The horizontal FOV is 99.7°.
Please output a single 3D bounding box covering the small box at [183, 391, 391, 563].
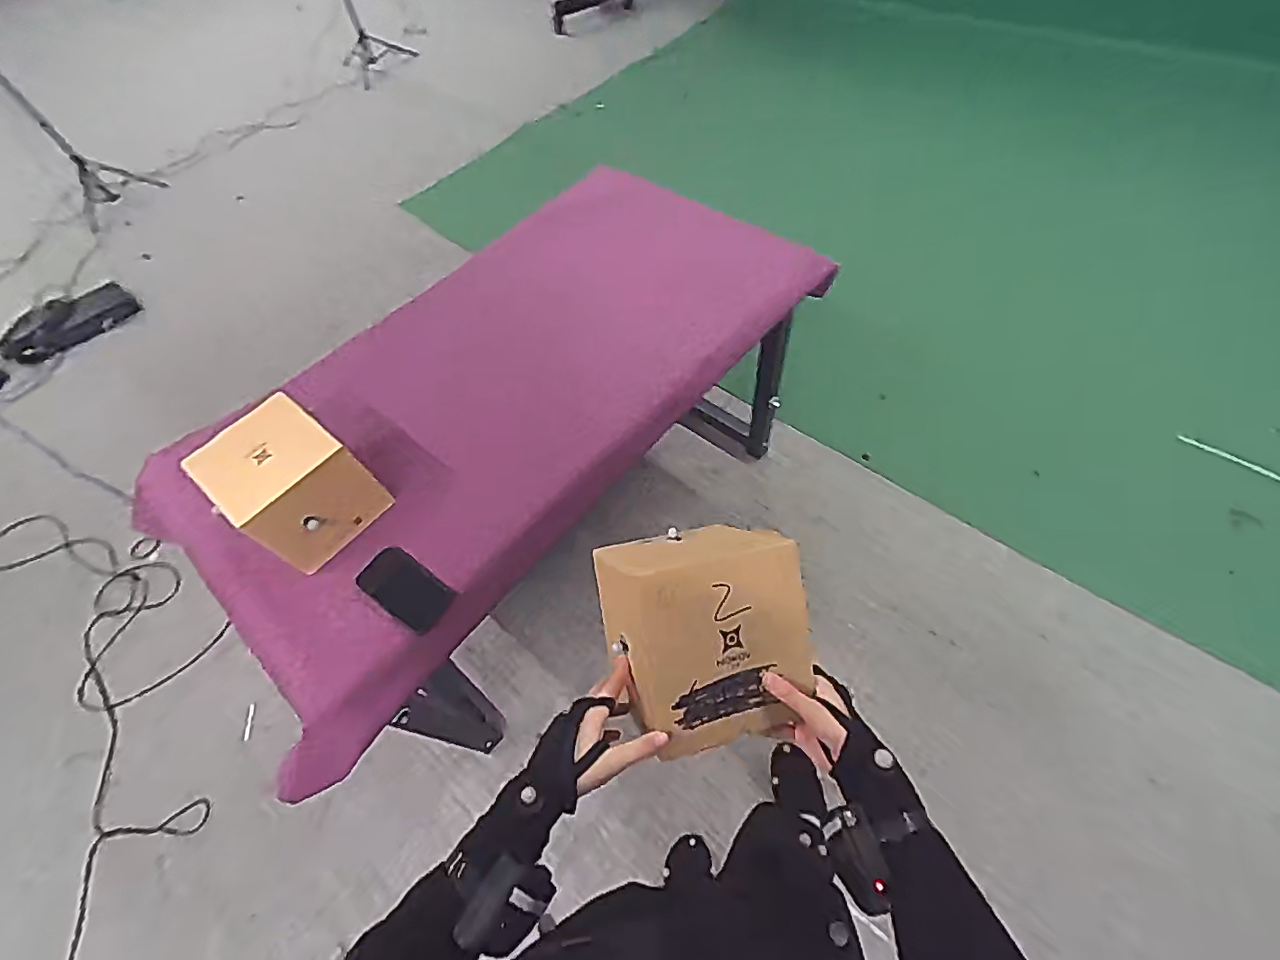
[{"bbox_3d":[-0.522,0.004,0.825,0.179,0.176,0.168,33,67,24],"label":"small box"}]
